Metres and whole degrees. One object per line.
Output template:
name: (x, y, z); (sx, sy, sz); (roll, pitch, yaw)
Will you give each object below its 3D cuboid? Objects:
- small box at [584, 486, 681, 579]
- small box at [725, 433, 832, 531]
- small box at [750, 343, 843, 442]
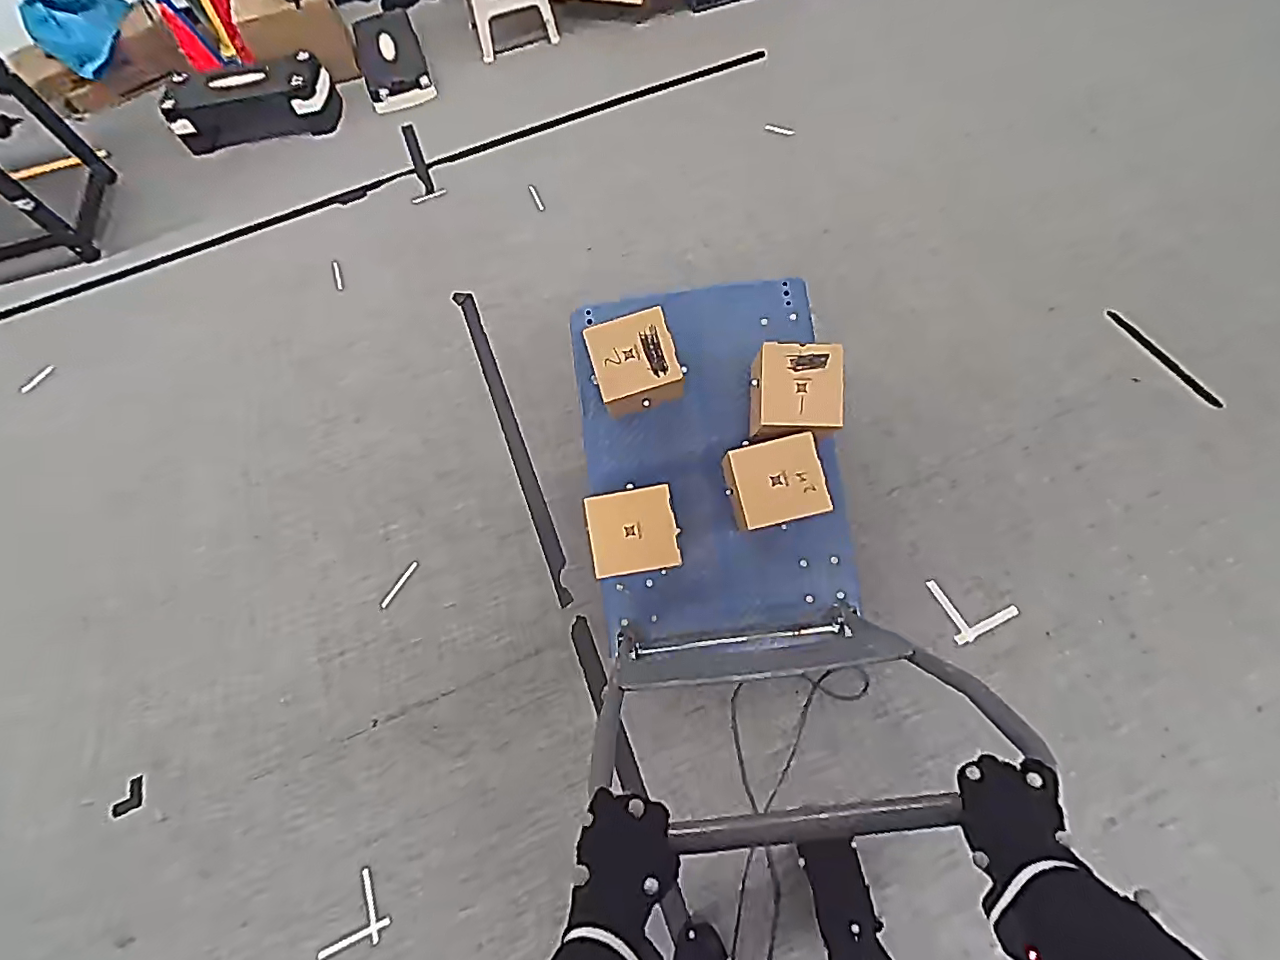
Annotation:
small box: (-0.011, 0.116, 1.163); (0.179, 0.176, 0.168); (-10, 83, 1)
small box: (0.284, 0.012, 1.156); (0.179, 0.176, 0.168); (-14, 83, 2)
small box: (0.333, -0.184, 1.174); (0.168, 0.176, 0.179); (2, 85, 4)
